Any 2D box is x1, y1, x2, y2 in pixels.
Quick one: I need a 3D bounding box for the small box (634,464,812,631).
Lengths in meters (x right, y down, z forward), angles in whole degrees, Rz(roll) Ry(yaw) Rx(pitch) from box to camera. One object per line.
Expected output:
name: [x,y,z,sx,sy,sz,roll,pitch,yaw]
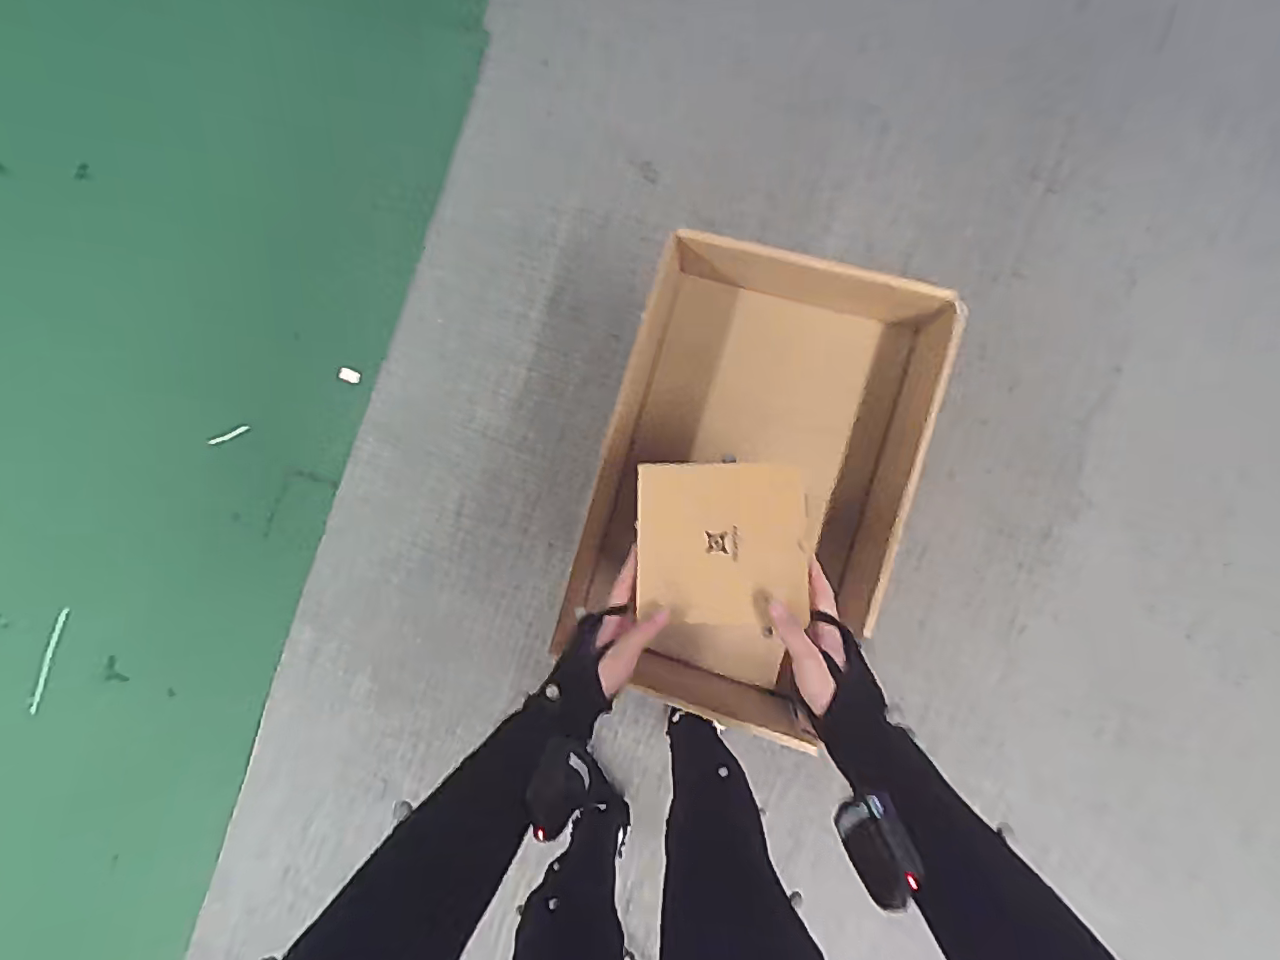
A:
small box: [0.093,0.077,0.618,0.179,0.176,0.168,-1,81,8]
